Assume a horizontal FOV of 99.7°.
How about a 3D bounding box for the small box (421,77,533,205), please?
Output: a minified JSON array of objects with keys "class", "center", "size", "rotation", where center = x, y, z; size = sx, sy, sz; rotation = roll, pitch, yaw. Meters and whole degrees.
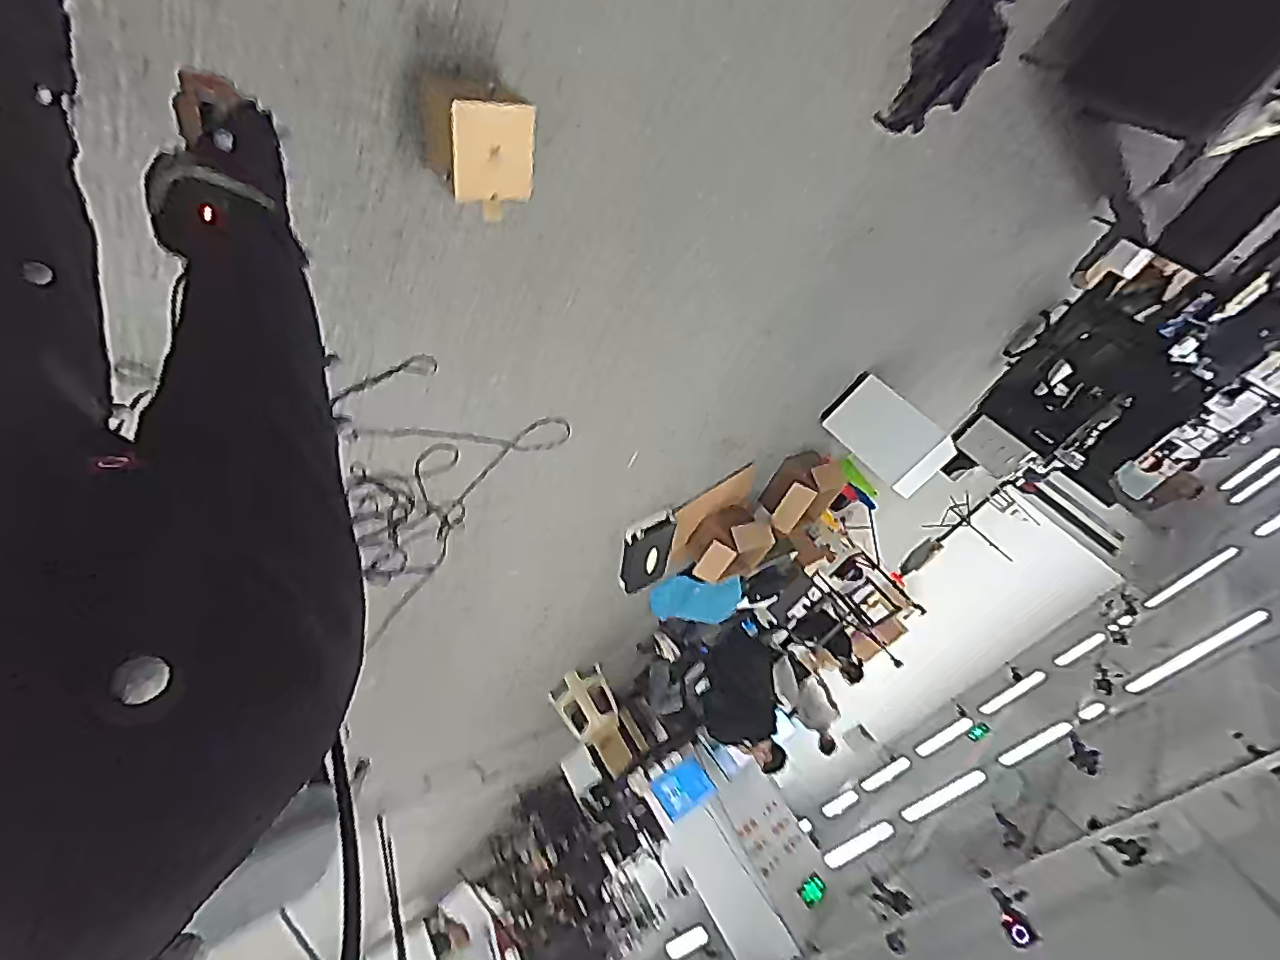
[{"class":"small box","center":[-0.332,-0.687,1.096],"size":[0.168,0.176,0.179],"rotation":[-20,147,-30]}]
